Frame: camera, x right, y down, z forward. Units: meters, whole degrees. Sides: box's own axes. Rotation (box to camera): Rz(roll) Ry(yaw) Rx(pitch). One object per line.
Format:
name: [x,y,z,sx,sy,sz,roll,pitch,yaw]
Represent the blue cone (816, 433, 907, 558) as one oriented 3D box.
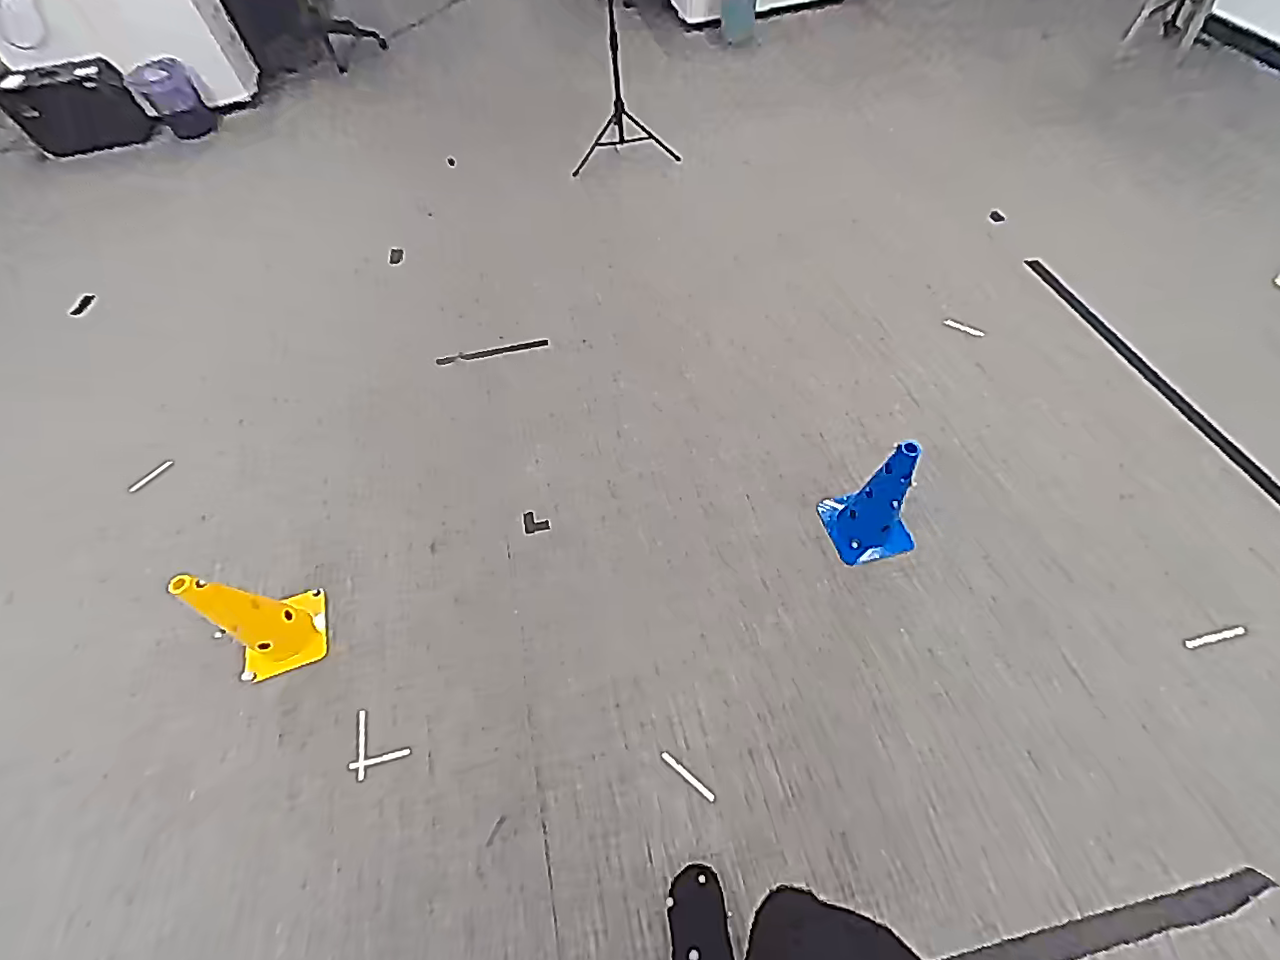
blue cone: [0.580,0.024,1.325,0.193,0.380,0.192,-13,56,-4]
